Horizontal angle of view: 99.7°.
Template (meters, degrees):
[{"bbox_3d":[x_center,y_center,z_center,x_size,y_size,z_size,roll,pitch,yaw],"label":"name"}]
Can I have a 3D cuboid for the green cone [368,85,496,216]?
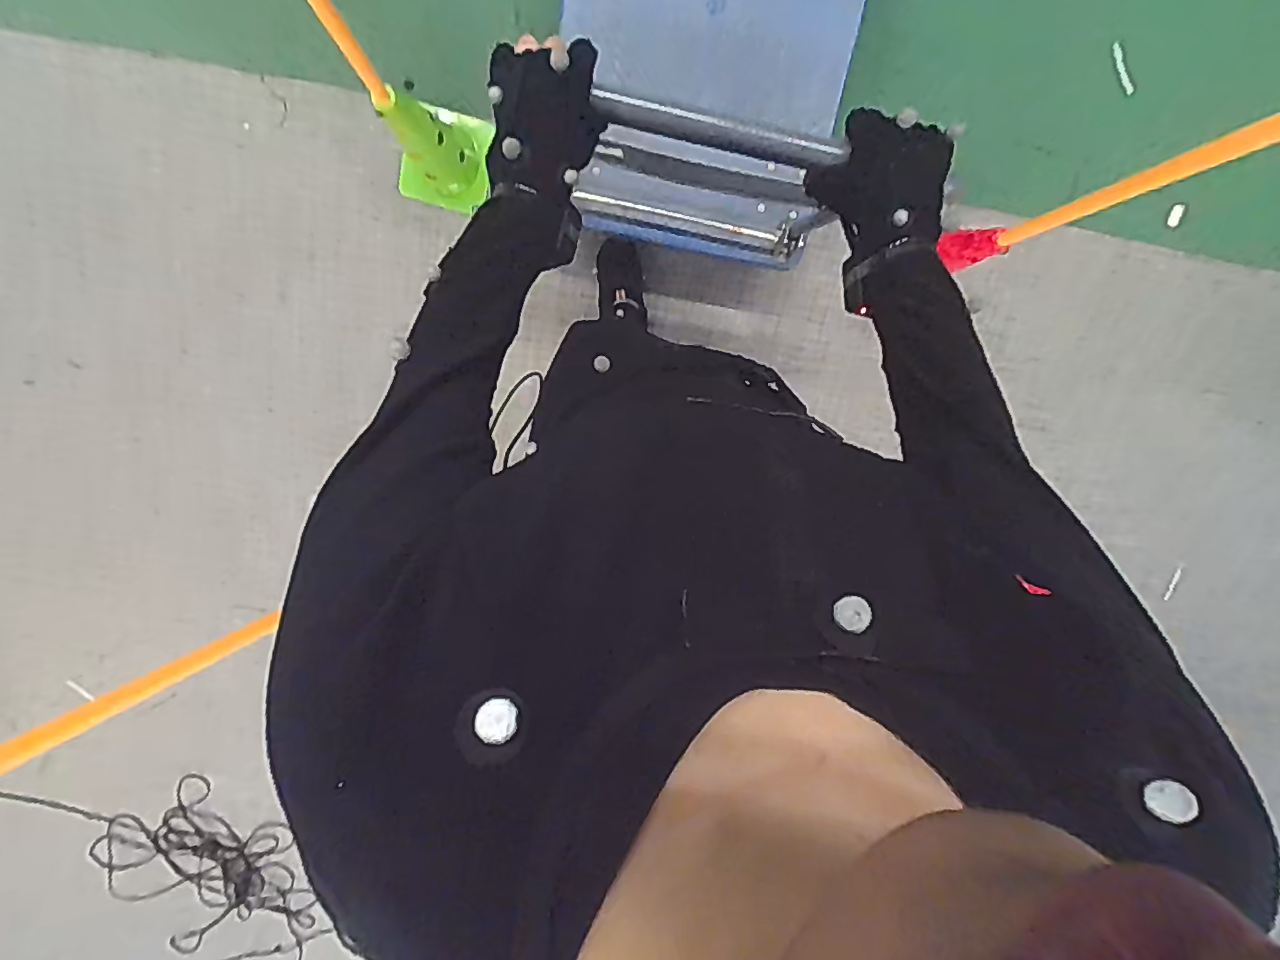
[{"bbox_3d":[-0.443,-0.698,1.093,0.202,0.368,0.200,13,103,-5],"label":"green cone"}]
